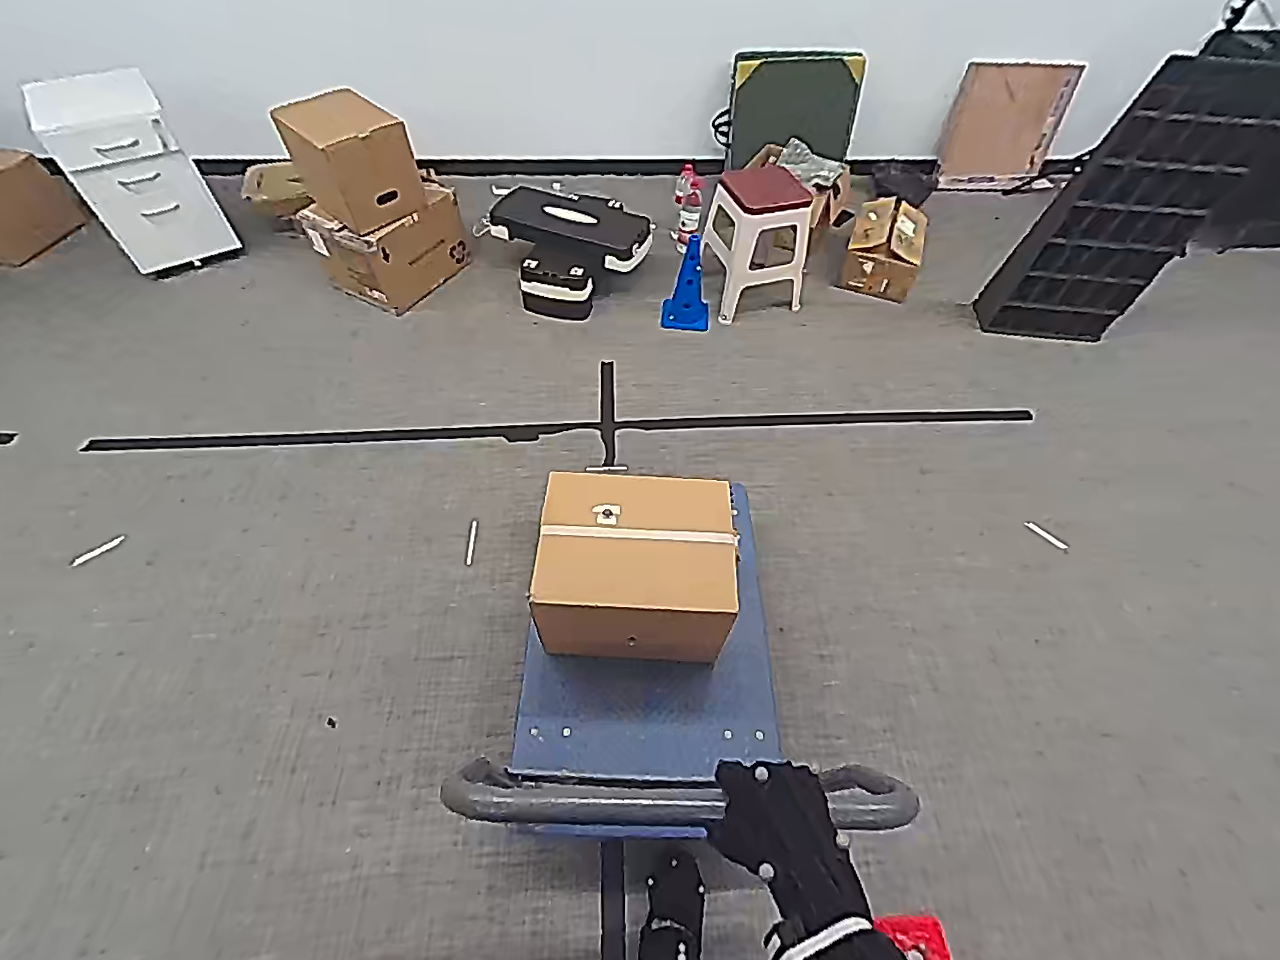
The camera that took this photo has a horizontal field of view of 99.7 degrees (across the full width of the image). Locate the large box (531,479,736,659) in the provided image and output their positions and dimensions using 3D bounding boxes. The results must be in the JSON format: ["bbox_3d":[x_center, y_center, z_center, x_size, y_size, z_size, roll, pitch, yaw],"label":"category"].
[{"bbox_3d":[-0.011,0.214,1.246,0.408,0.320,0.320,3,54,0],"label":"large box"}]

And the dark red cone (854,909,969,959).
[{"bbox_3d":[0.546,0.877,0.930,0.201,0.394,0.202,0,54,-5],"label":"dark red cone"}]
